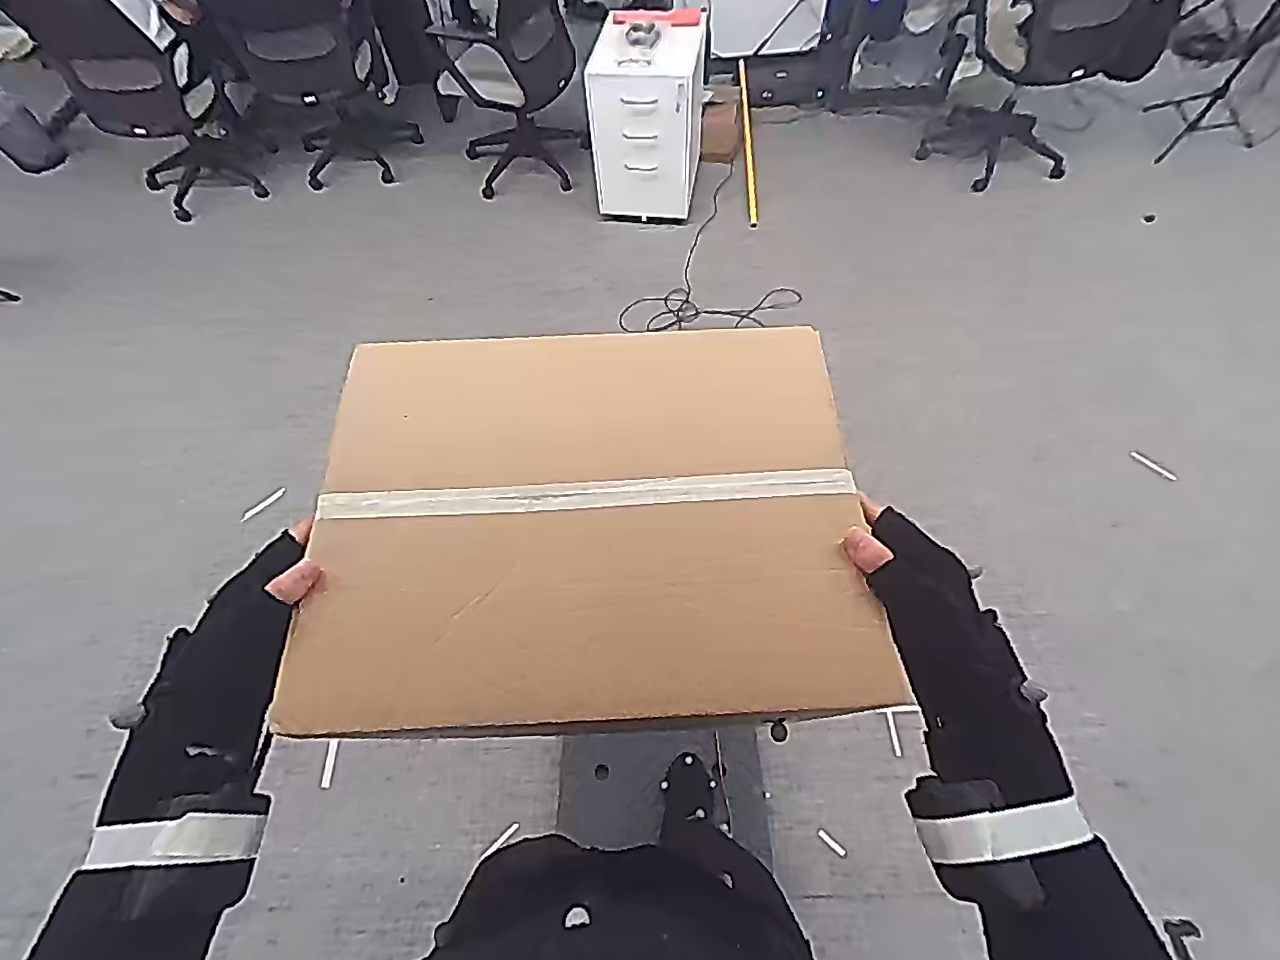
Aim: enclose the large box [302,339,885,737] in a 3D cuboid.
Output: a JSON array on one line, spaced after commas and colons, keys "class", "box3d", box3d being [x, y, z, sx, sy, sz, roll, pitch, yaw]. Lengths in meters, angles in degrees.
[{"class": "large box", "box3d": [-0.035, 0.084, 0.561, 0.408, 0.320, 0.320, -3, 64, 0]}]
